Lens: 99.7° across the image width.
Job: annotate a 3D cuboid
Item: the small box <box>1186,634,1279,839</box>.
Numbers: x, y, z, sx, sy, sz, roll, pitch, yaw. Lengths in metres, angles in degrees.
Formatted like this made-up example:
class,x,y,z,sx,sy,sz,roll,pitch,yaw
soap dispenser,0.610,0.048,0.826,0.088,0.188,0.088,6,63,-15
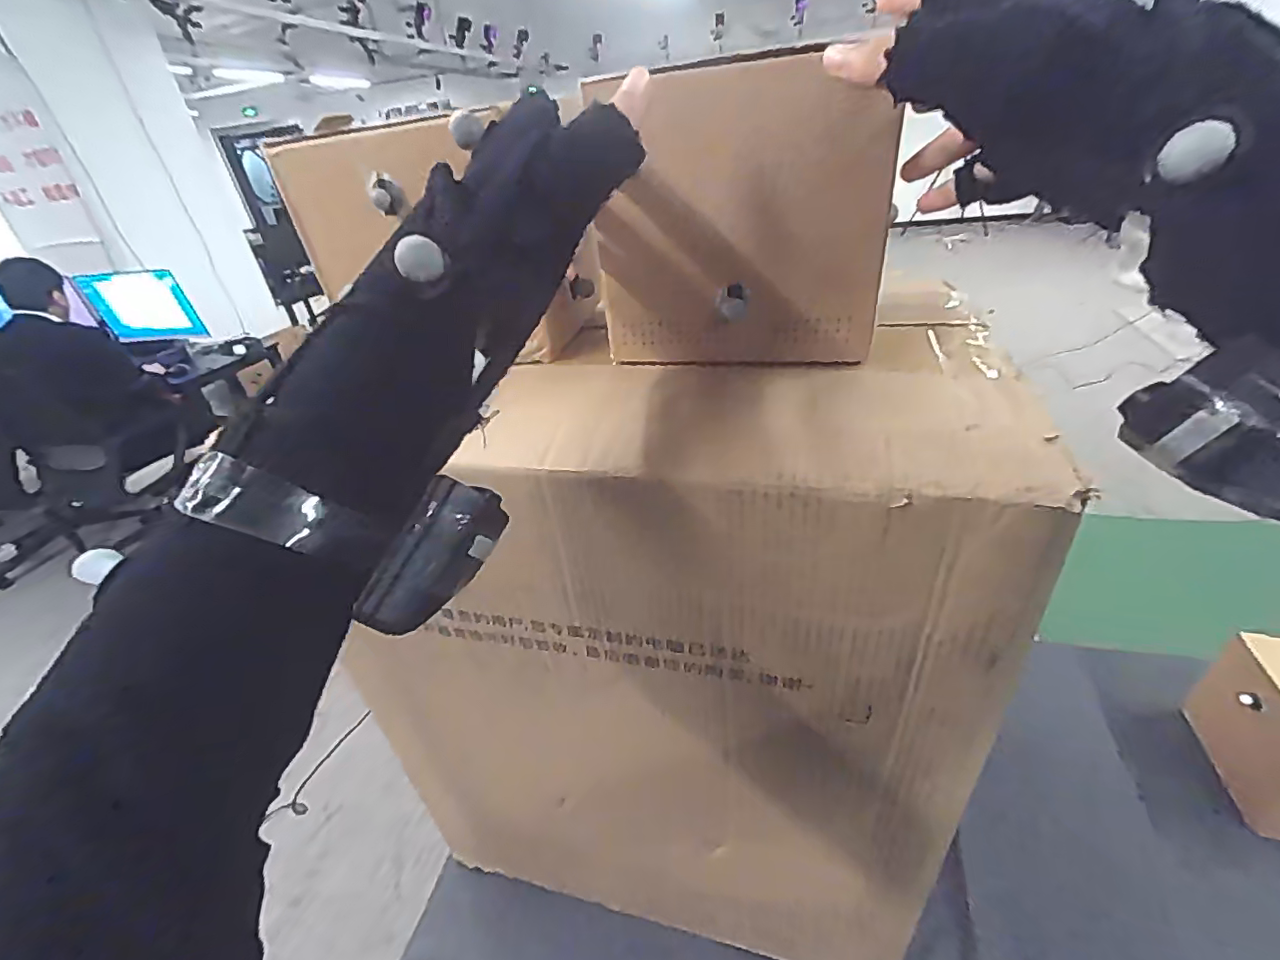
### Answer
class,x,y,z,sx,sy,sz,roll,pitch,yaw
small box,0.832,0.321,0.657,0.168,0.176,0.179,4,34,18

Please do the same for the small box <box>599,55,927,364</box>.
class,x,y,z,sx,sy,sz,roll,pitch,yaw
small box,0.084,-0.191,0.396,0.179,0.176,0.168,4,33,13

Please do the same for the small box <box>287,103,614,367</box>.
class,x,y,z,sx,sy,sz,roll,pitch,yaw
small box,-0.132,-0.202,0.453,0.179,0.176,0.168,2,37,13
